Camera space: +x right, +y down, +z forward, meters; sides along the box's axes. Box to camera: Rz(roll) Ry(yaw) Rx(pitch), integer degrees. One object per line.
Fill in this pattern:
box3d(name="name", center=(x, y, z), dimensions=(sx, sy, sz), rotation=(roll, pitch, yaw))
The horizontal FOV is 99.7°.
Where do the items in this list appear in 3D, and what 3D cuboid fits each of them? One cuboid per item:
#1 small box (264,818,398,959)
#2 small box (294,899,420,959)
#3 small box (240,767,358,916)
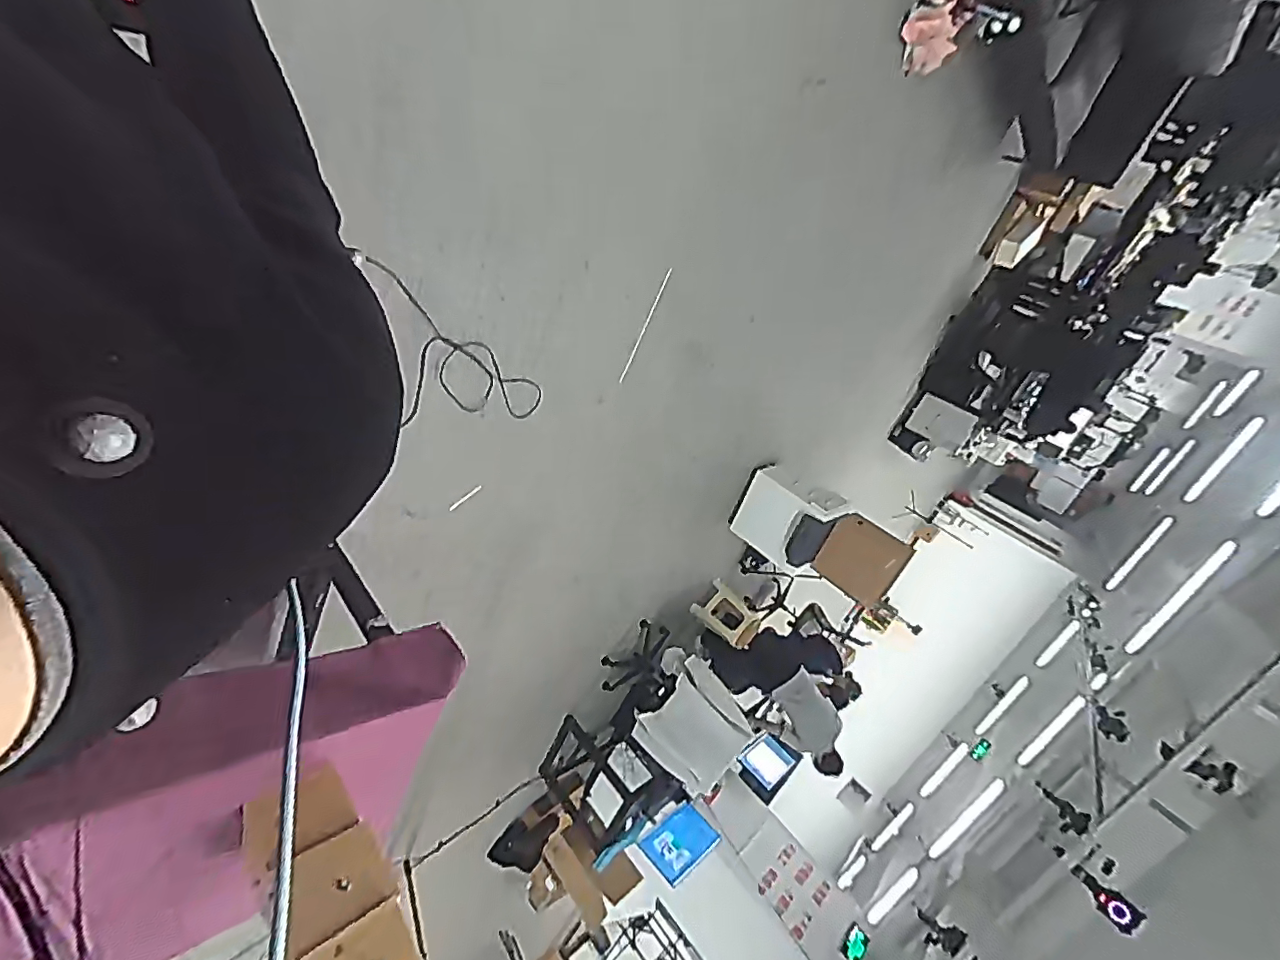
box3d(name="small box", center=(-0.595, 0.802, 1.032), dimensions=(0.179, 0.176, 0.168), rotation=(-8, 129, -47))
box3d(name="small box", center=(-0.491, 0.881, 0.935), dimensions=(0.168, 0.176, 0.179), rotation=(-11, 132, -44))
box3d(name="small box", center=(-0.714, 0.735, 1.126), dimensions=(0.168, 0.176, 0.179), rotation=(-7, 129, -47))
